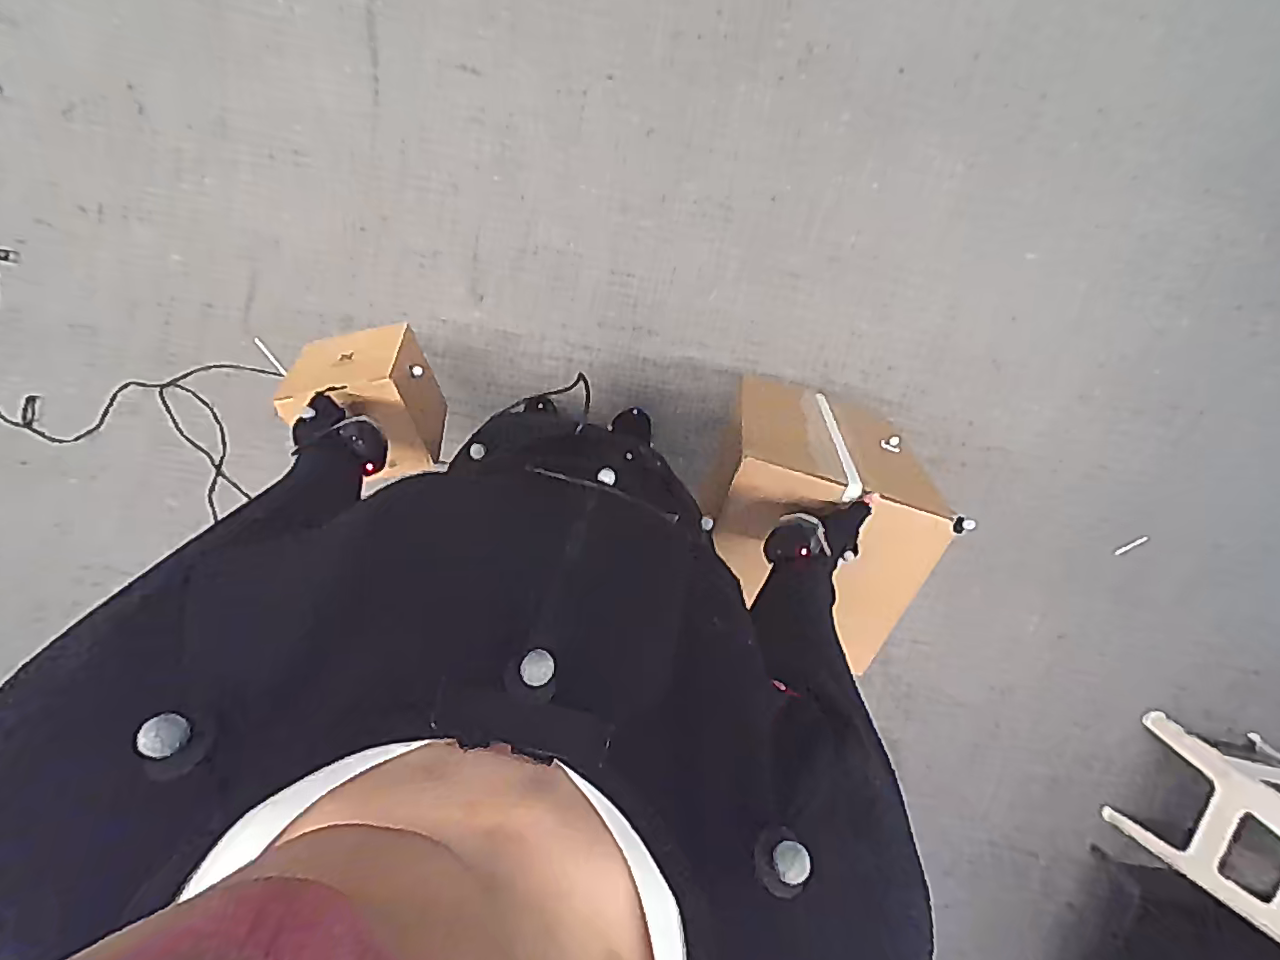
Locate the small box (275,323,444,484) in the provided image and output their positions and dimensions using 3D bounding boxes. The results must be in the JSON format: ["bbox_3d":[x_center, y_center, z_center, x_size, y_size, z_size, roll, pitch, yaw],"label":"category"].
[{"bbox_3d":[-0.425,-0.121,0.858,0.168,0.179,0.176,-12,134,-1],"label":"small box"}]
